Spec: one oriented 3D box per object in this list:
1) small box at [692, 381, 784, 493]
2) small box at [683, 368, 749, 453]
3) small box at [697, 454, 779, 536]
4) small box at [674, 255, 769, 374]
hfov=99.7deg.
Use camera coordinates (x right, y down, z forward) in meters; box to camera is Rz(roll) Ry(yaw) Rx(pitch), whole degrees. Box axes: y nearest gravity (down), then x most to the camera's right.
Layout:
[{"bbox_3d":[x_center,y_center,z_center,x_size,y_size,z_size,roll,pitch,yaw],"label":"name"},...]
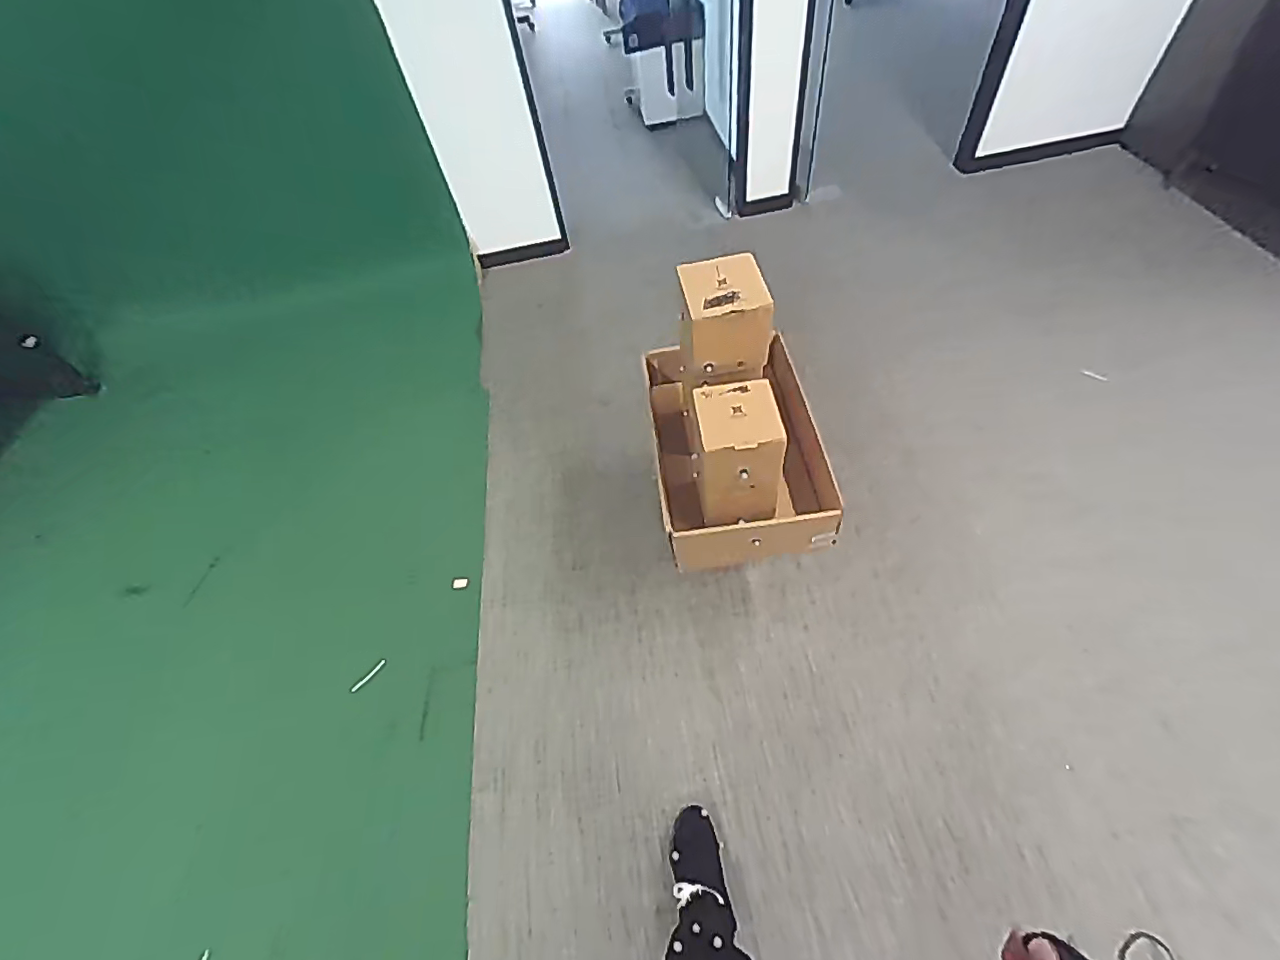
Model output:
[{"bbox_3d":[0.208,-0.084,1.170,0.168,0.176,0.179,-8,54,3],"label":"small box"},{"bbox_3d":[0.209,-0.189,1.455,0.168,0.176,0.179,-9,57,2],"label":"small box"},{"bbox_3d":[0.229,0.011,1.301,0.168,0.176,0.179,-8,53,4],"label":"small box"},{"bbox_3d":[0.174,-0.348,1.169,0.168,0.176,0.179,-11,56,1],"label":"small box"}]
